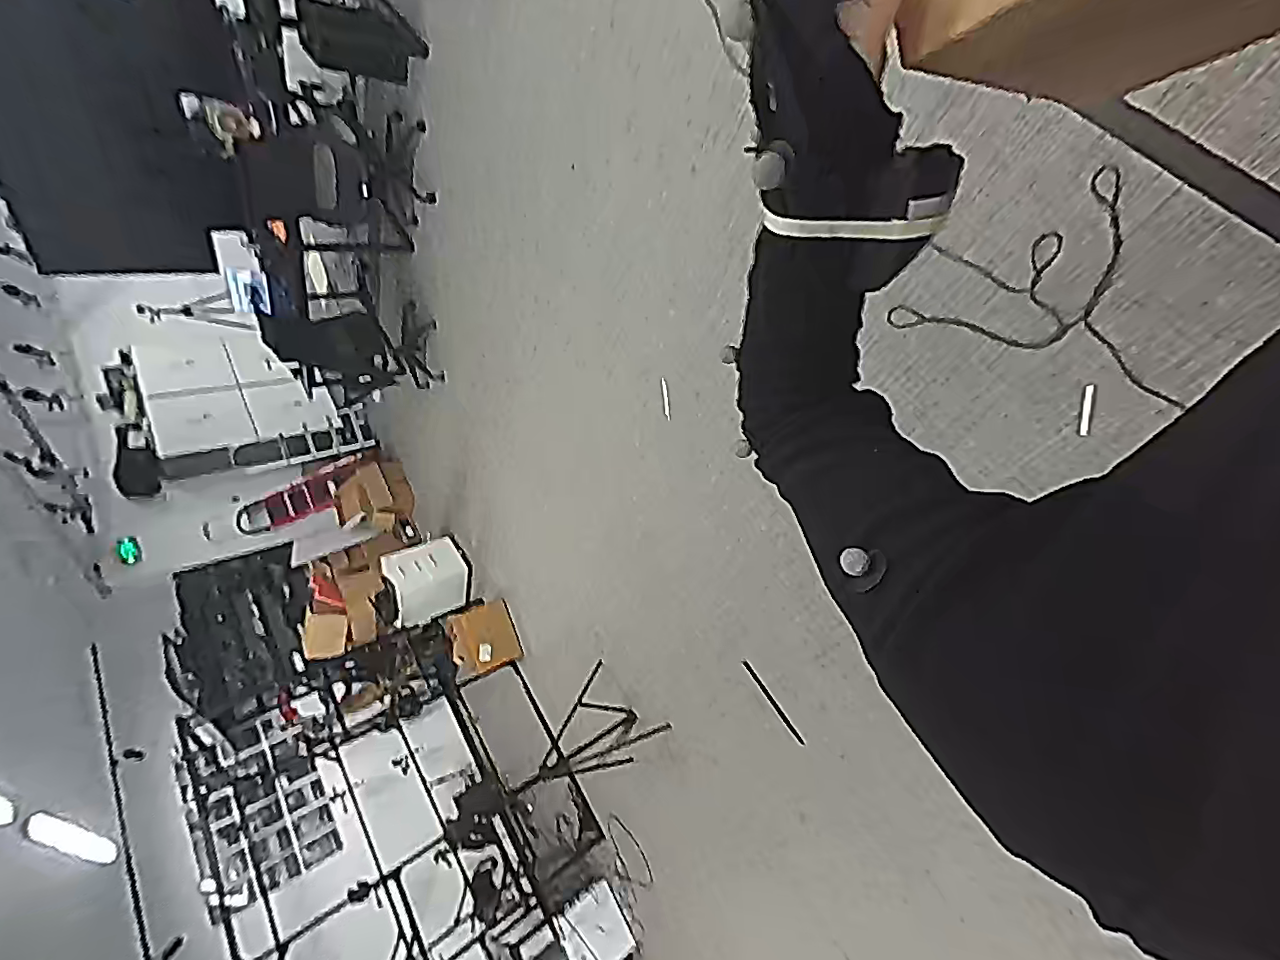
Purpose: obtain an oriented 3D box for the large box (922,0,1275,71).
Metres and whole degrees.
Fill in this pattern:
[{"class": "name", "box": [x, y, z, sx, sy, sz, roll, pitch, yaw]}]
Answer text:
[{"class": "large box", "box": [0.259, -0.417, 0.138, 0.320, 0.320, 0.408, 1, 113, 53]}]
